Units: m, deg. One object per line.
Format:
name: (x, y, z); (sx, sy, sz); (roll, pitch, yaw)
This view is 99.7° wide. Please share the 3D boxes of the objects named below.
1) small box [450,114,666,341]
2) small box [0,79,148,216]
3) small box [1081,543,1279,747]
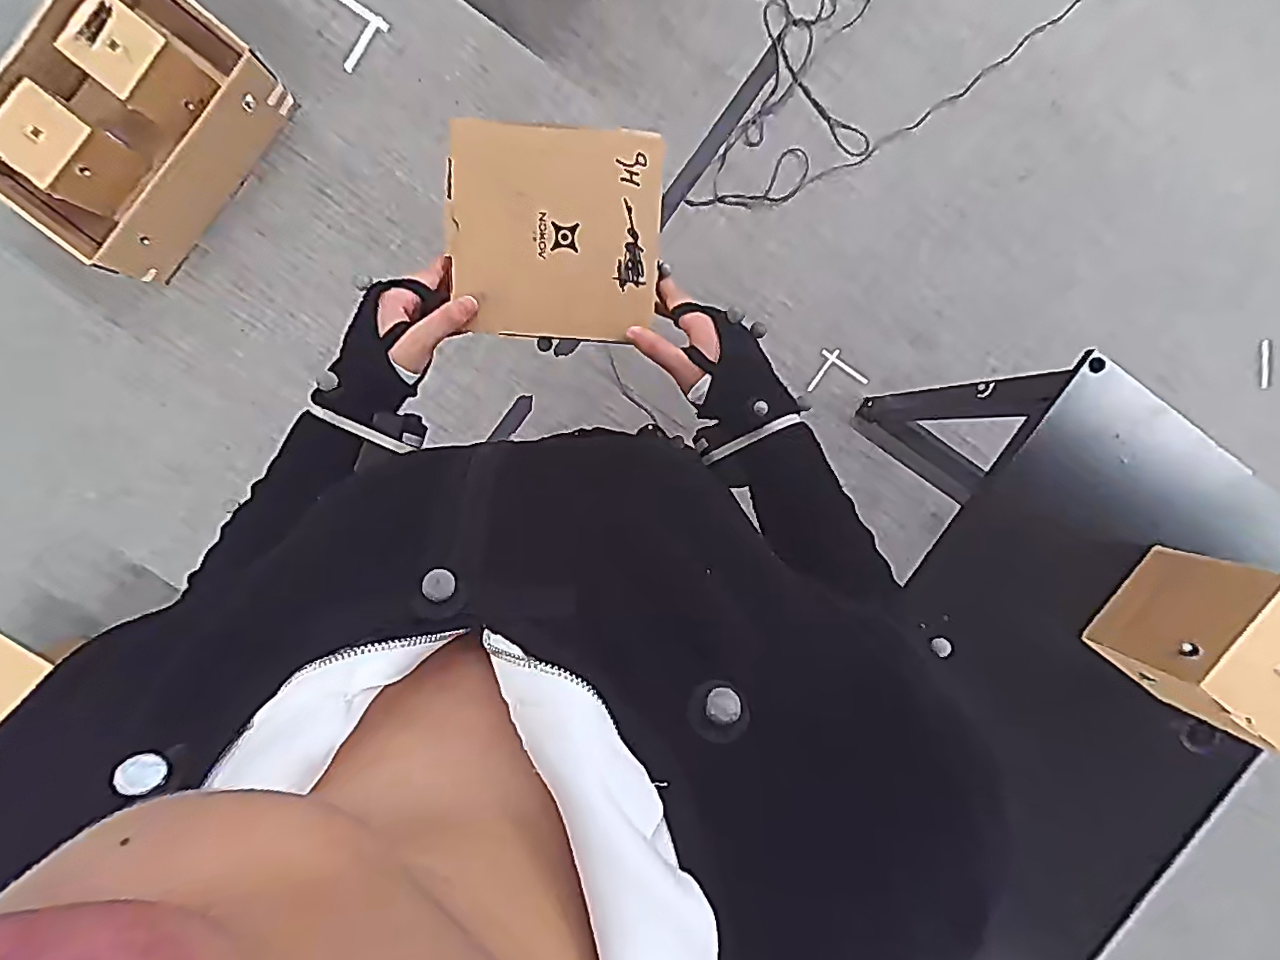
small box: (-0.072, -0.228, 0.531); (0.179, 0.176, 0.168); (3, 103, -2)
small box: (-1.323, -0.760, 1.260); (0.168, 0.176, 0.179); (40, 91, -7)
small box: (0.772, 0.209, 0.739); (0.168, 0.176, 0.179); (36, 93, -5)
